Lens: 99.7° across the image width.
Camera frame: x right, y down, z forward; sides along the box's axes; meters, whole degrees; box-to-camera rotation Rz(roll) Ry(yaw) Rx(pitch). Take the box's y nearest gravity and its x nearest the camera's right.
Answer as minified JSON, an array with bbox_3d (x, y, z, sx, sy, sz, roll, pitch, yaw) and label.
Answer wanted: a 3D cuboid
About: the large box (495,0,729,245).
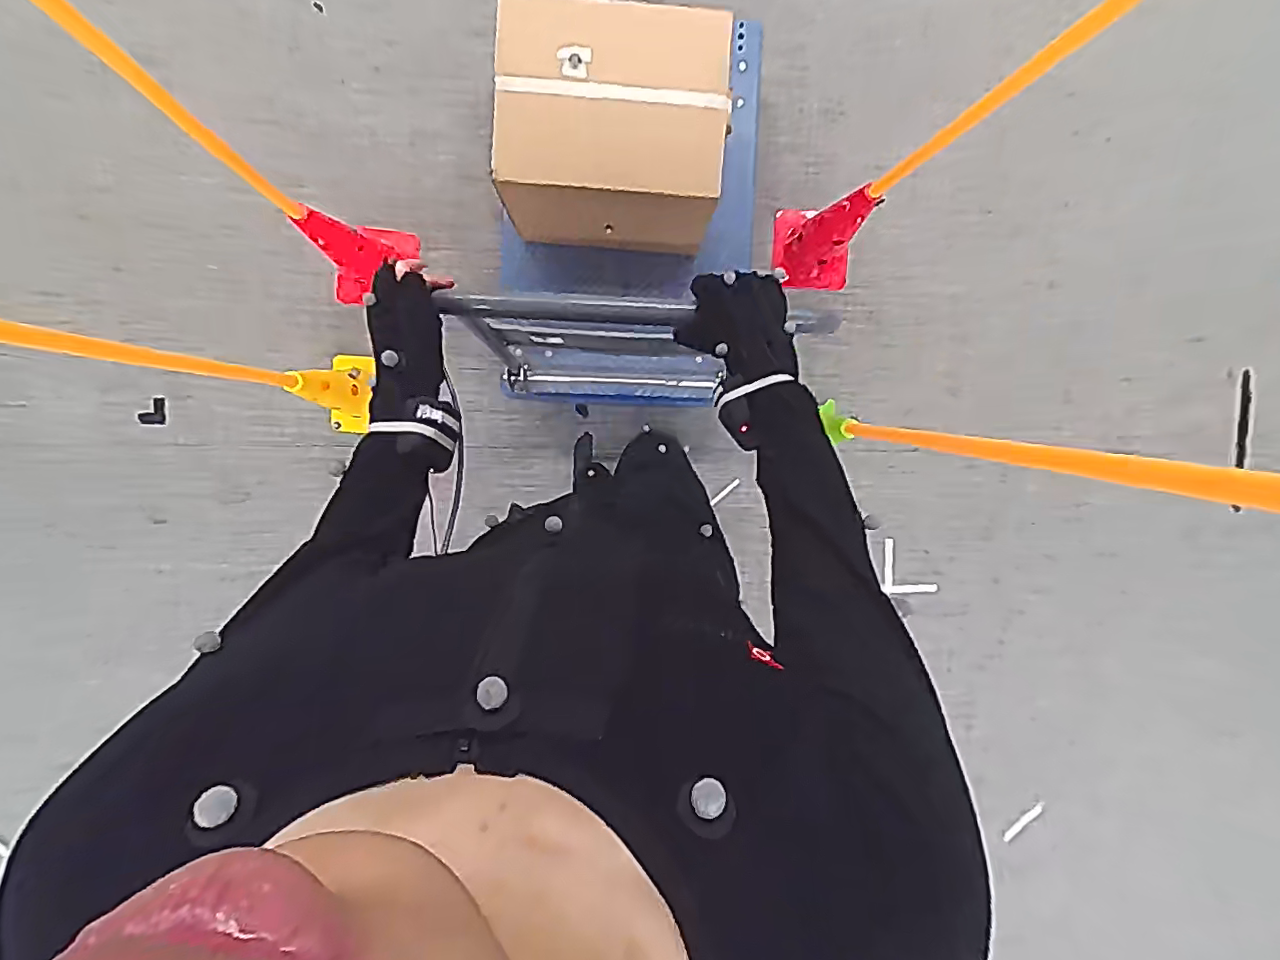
[{"bbox_3d":[-0.050,-0.684,1.085,0.408,0.320,0.320,4,95,-1],"label":"large box"}]

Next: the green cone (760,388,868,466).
[{"bbox_3d":[0.436,-0.128,1.287,0.202,0.368,0.200,5,94,-3],"label":"green cone"}]

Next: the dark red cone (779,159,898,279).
[{"bbox_3d":[0.468,-0.609,1.232,0.201,0.394,0.202,1,95,-3],"label":"dark red cone"}]

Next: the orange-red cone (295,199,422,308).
[{"bbox_3d":[-0.665,-0.545,1.228,0.198,0.360,0.199,9,93,-3],"label":"orange-red cone"}]
